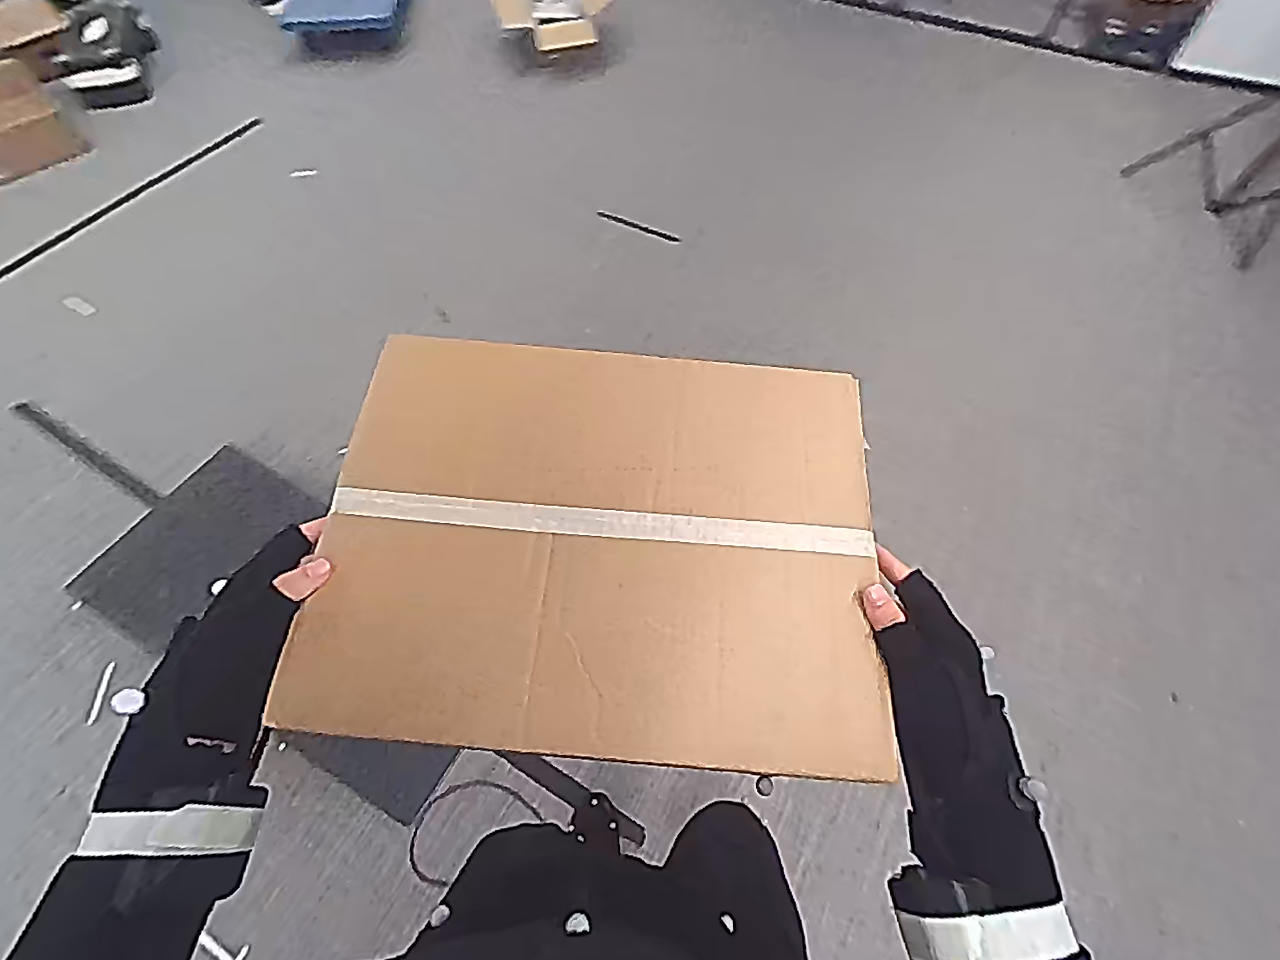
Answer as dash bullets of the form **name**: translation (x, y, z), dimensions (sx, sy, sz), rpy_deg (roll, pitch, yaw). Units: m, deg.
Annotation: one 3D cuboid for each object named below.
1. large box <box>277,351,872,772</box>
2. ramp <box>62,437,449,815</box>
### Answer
- **large box**: translation (-0.038, 0.099, 0.552), dimensions (0.408, 0.320, 0.320), rpy_deg (5, 65, -1)
- **ramp**: translation (-0.839, 0.321, 1.361), dimensions (0.991, 0.206, 0.509), rpy_deg (26, 62, 12)
